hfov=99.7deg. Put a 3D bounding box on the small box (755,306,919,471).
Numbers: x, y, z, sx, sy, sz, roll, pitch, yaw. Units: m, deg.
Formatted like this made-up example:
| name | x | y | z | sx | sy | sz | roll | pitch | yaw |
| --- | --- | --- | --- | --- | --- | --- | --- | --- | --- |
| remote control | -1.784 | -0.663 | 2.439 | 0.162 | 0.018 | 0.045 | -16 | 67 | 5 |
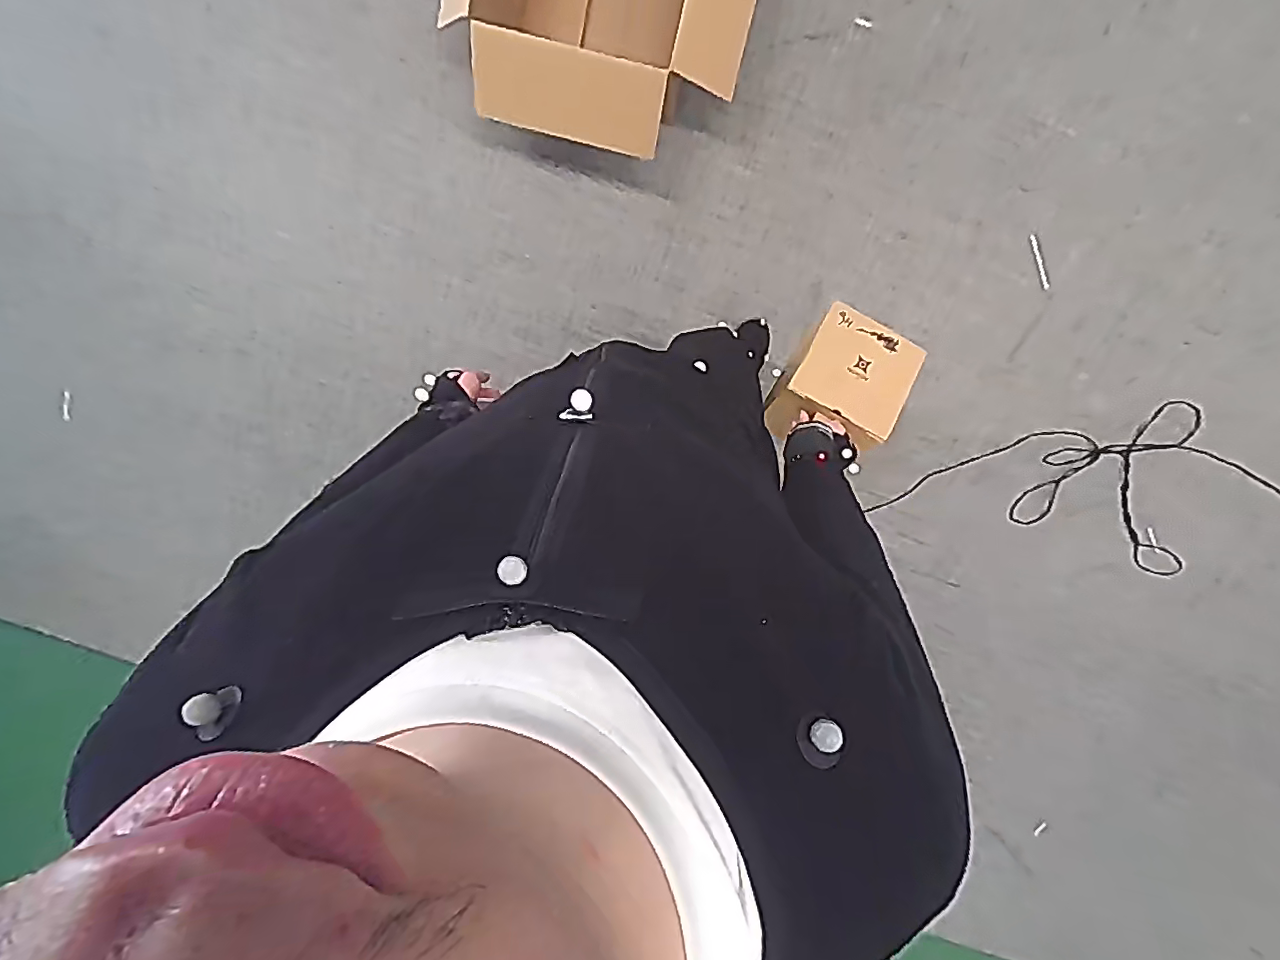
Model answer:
| name | x | y | z | sx | sy | sz | roll | pitch | yaw |
| --- | --- | --- | --- | --- | --- | --- | --- | --- | --- |
| small box | 0.308 | -0.137 | 0.885 | 0.168 | 0.176 | 0.179 | 32 | 74 | 2 |
